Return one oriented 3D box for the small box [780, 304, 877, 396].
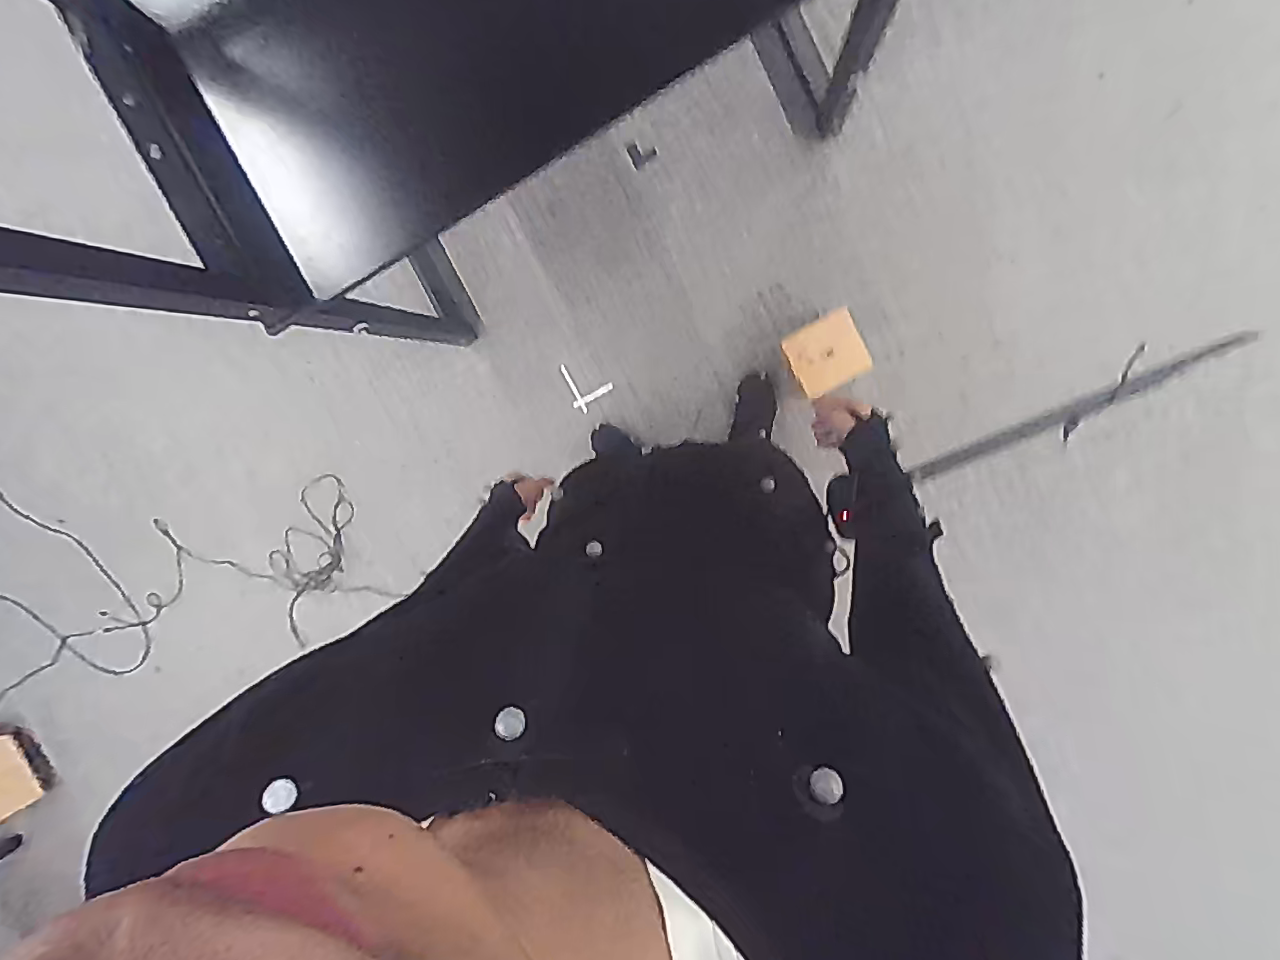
[{"bbox_3d":[0.482,-0.335,1.410,0.179,0.176,0.168,-27,95,14],"label":"small box"}]
